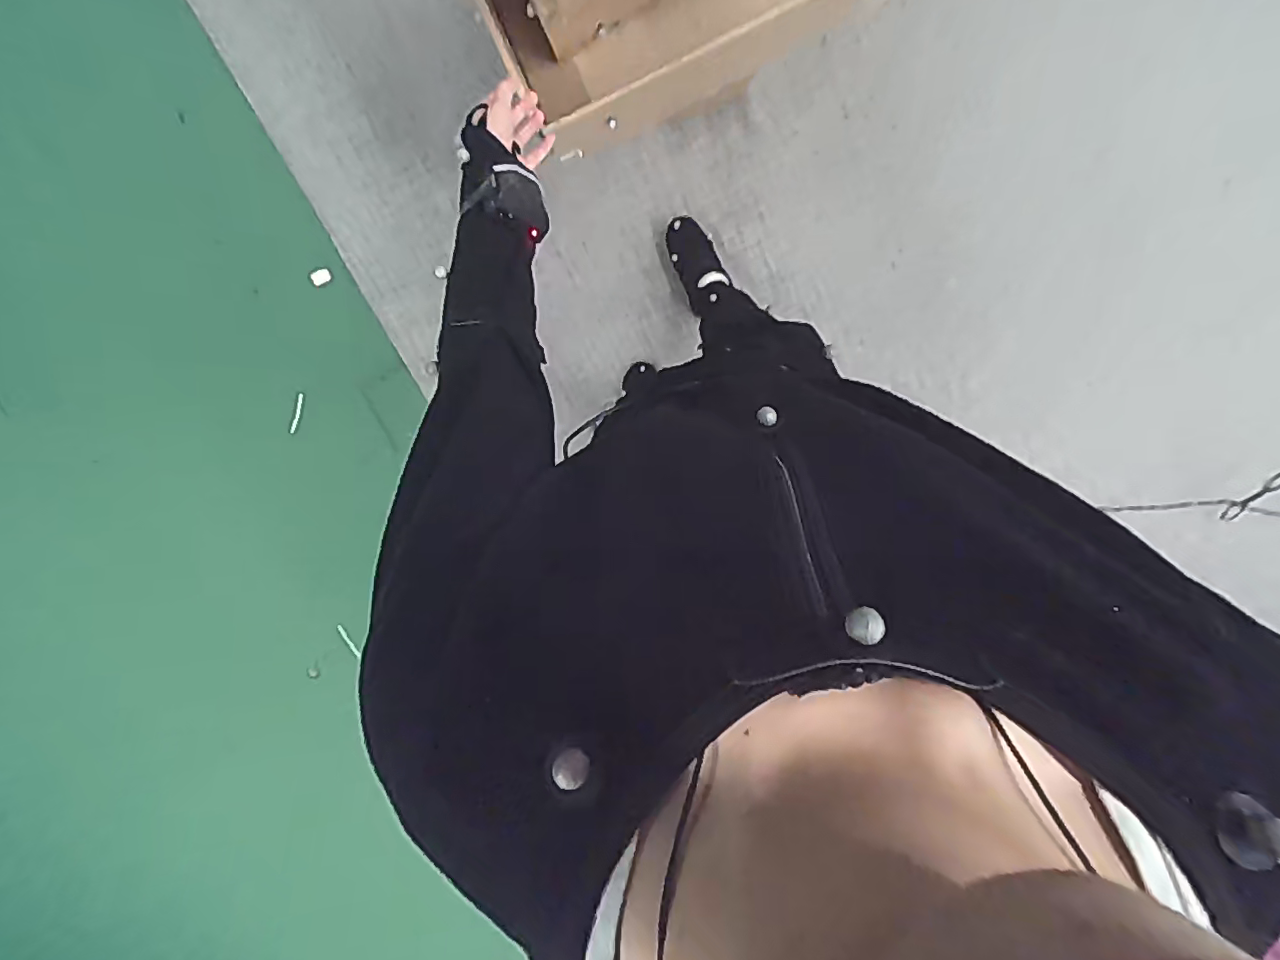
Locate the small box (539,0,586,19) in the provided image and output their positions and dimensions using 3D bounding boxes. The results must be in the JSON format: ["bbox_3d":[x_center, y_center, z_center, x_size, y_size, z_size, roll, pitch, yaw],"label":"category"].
[{"bbox_3d":[-0.101,-0.683,0.601,0.168,0.176,0.179,-39,105,13],"label":"small box"}]
